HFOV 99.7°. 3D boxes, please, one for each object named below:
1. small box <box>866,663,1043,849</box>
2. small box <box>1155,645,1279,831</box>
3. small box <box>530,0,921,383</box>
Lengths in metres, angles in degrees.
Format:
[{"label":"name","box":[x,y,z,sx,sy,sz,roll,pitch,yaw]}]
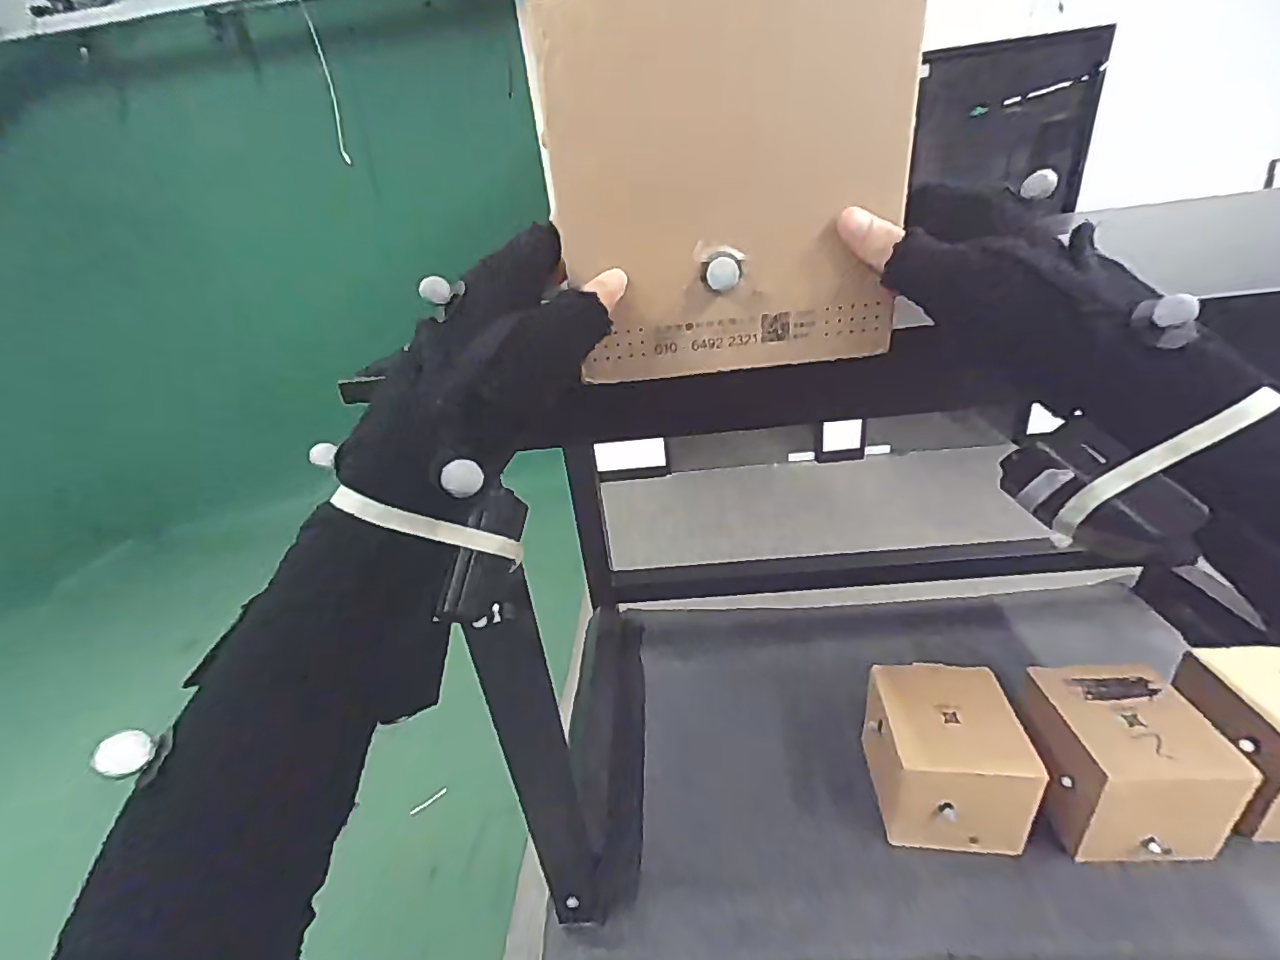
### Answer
[{"label":"small box","box":[0.429,0.387,0.770,0.168,0.176,0.179,-2,27,10]},{"label":"small box","box":[0.867,0.348,0.730,0.168,0.176,0.179,-3,26,7]},{"label":"small box","box":[0.041,-0.167,0.330,0.168,0.176,0.179,-6,27,1]}]
